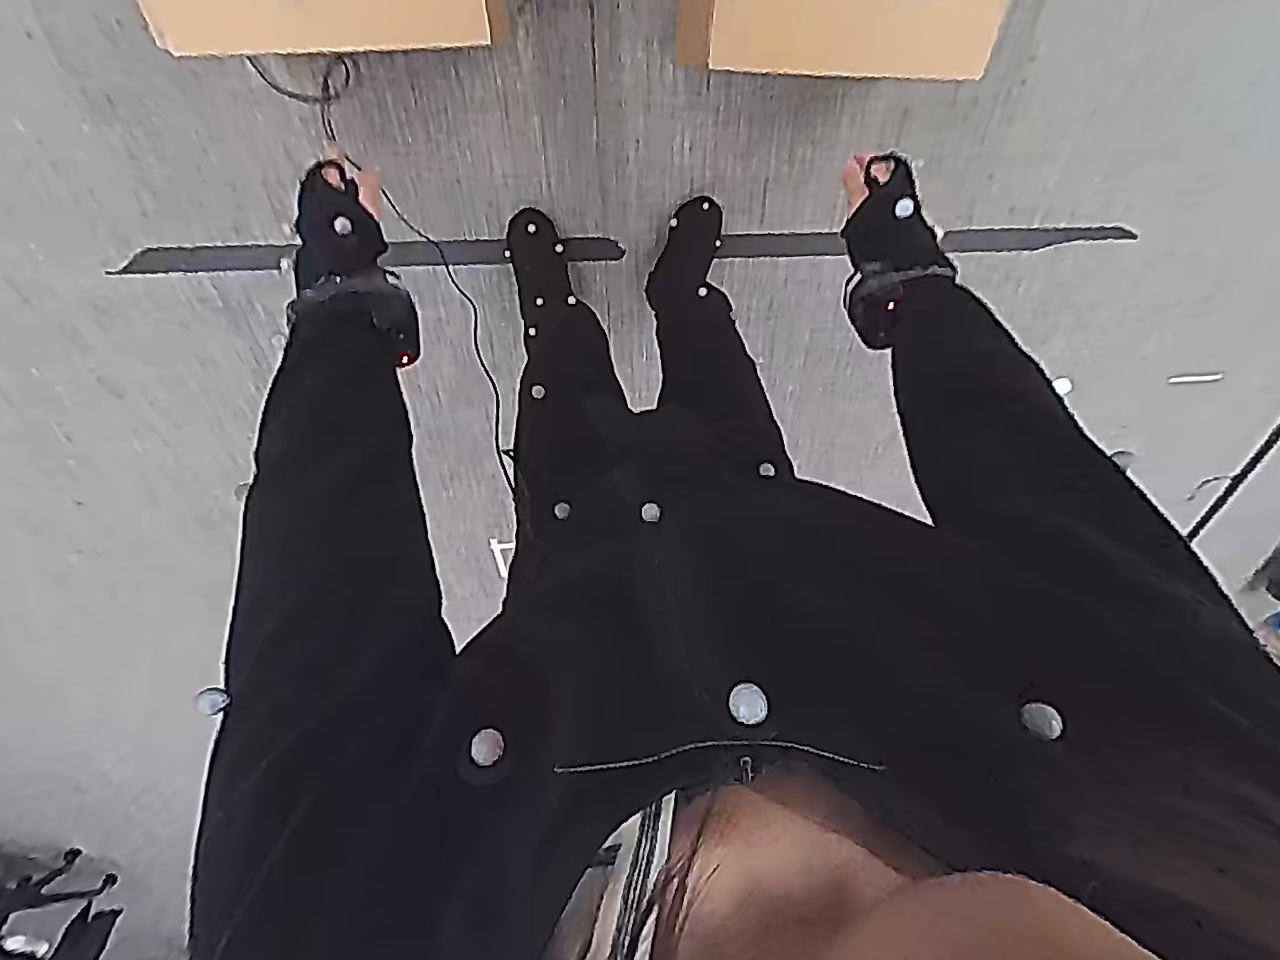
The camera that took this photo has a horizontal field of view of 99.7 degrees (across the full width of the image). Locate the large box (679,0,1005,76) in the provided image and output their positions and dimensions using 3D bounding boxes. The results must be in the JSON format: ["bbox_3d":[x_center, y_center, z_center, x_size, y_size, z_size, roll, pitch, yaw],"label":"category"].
[{"bbox_3d":[0.283,-0.789,0.788,0.408,0.320,0.320,-2,129,-6],"label":"large box"}]
